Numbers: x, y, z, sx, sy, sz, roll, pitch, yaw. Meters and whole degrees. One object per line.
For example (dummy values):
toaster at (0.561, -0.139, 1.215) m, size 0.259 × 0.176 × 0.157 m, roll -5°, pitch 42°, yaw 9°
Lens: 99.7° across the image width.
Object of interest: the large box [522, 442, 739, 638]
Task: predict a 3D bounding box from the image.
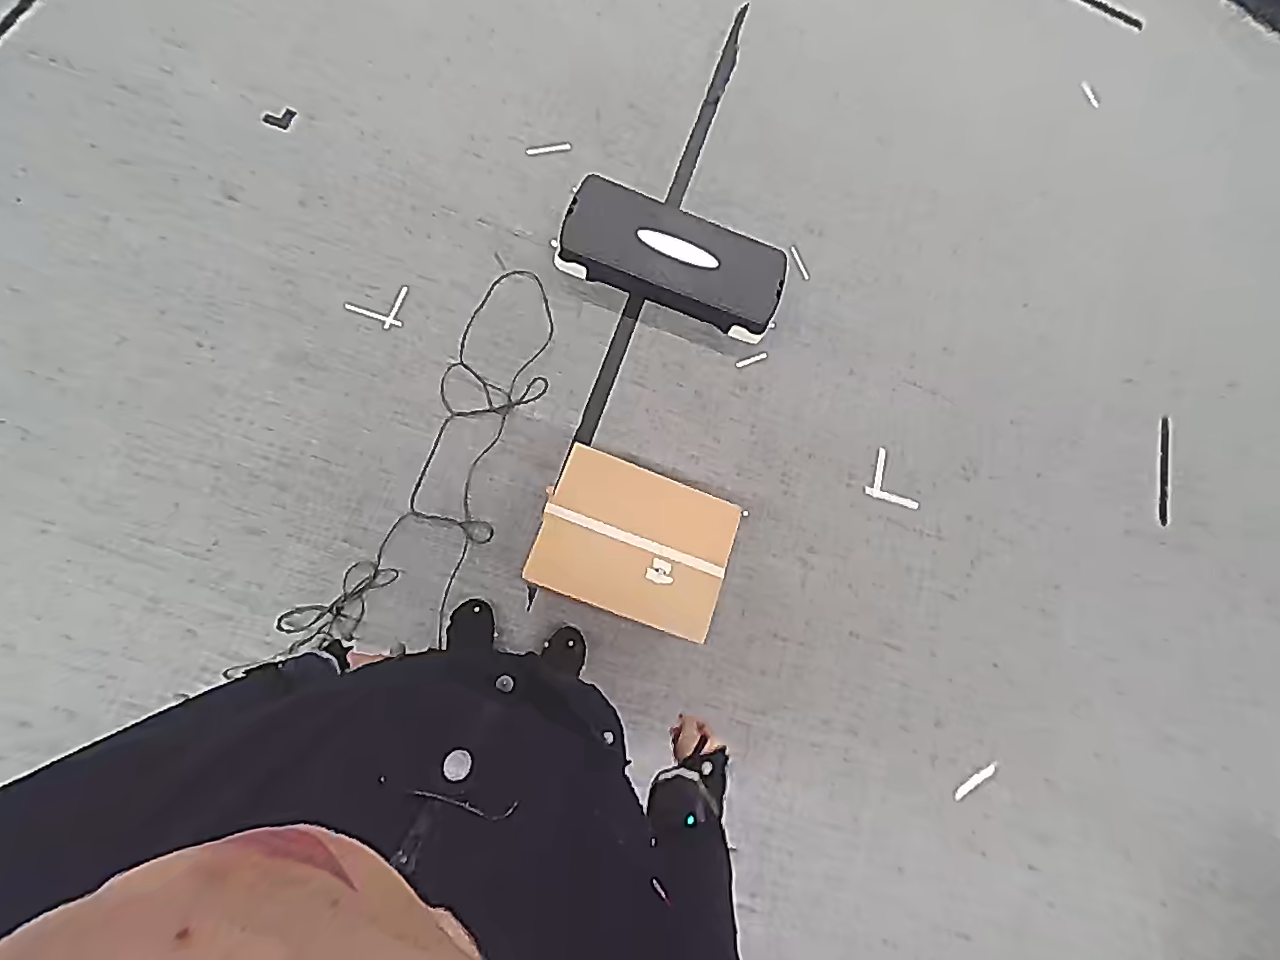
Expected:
large box at (-0.039, 0.155, 1.282) m, size 0.408 × 0.320 × 0.320 m, roll 22°, pitch 75°, yaw -6°
